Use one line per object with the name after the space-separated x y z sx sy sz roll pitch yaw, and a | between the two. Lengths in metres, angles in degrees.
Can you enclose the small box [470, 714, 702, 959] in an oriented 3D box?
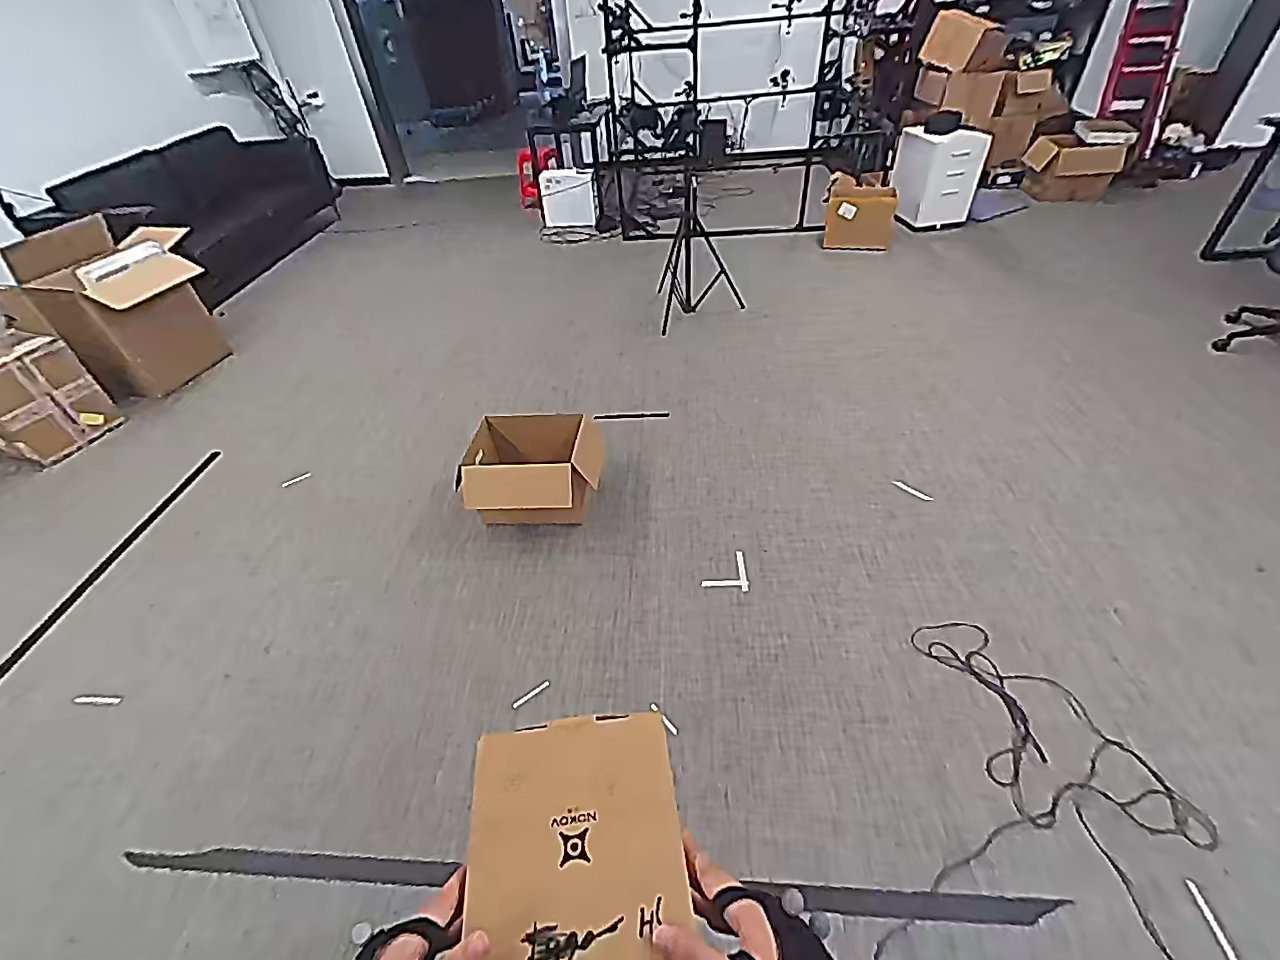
-0.044 0.339 0.488 0.168 0.176 0.179 -6 45 -4 | small box
